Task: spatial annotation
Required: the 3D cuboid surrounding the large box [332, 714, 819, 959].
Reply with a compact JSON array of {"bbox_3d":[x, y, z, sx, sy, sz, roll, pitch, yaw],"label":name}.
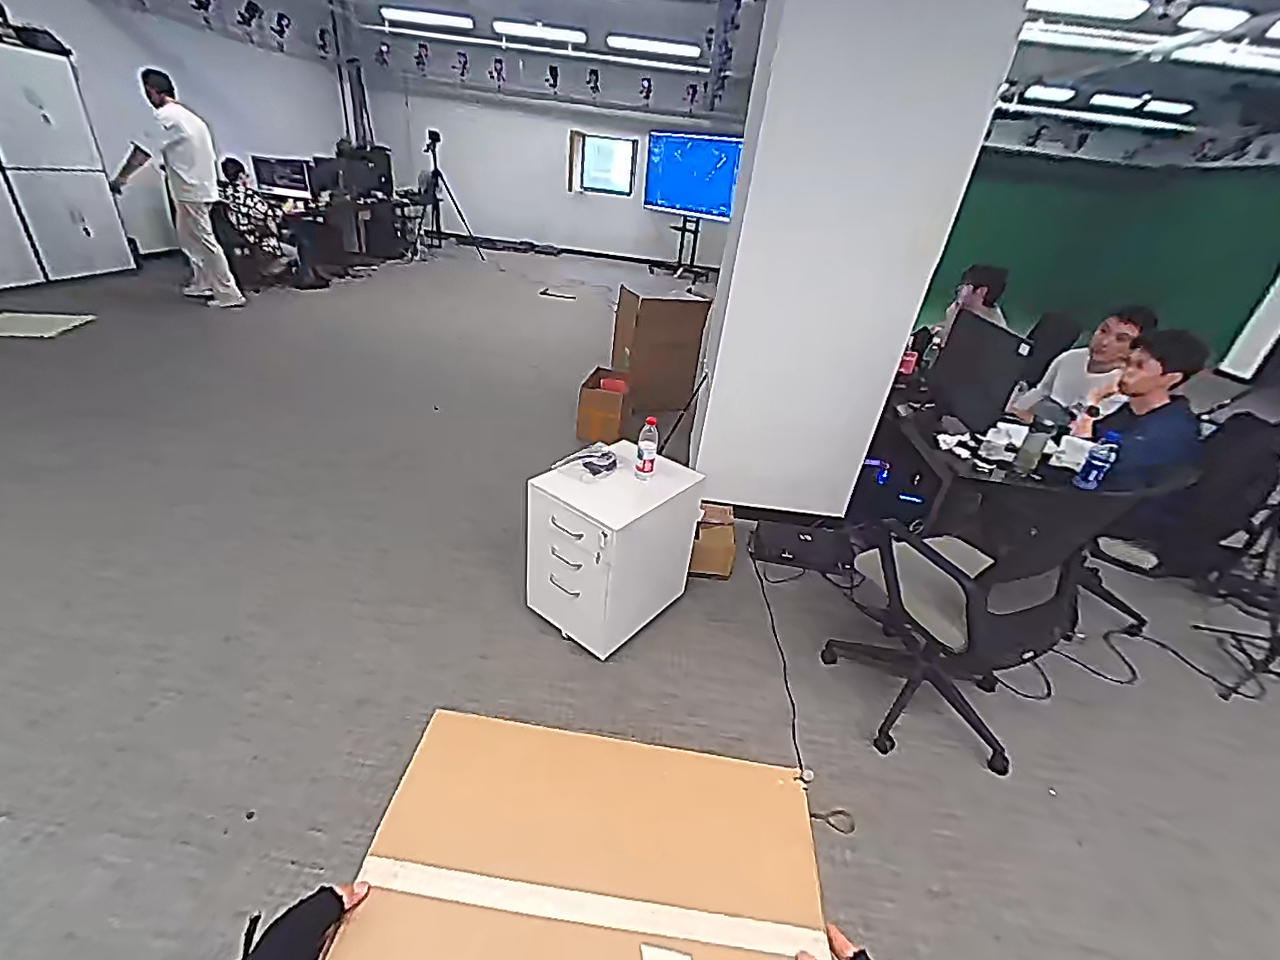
[{"bbox_3d":[-0.061,0.496,0.556,0.408,0.320,0.320,10,34,1],"label":"large box"}]
